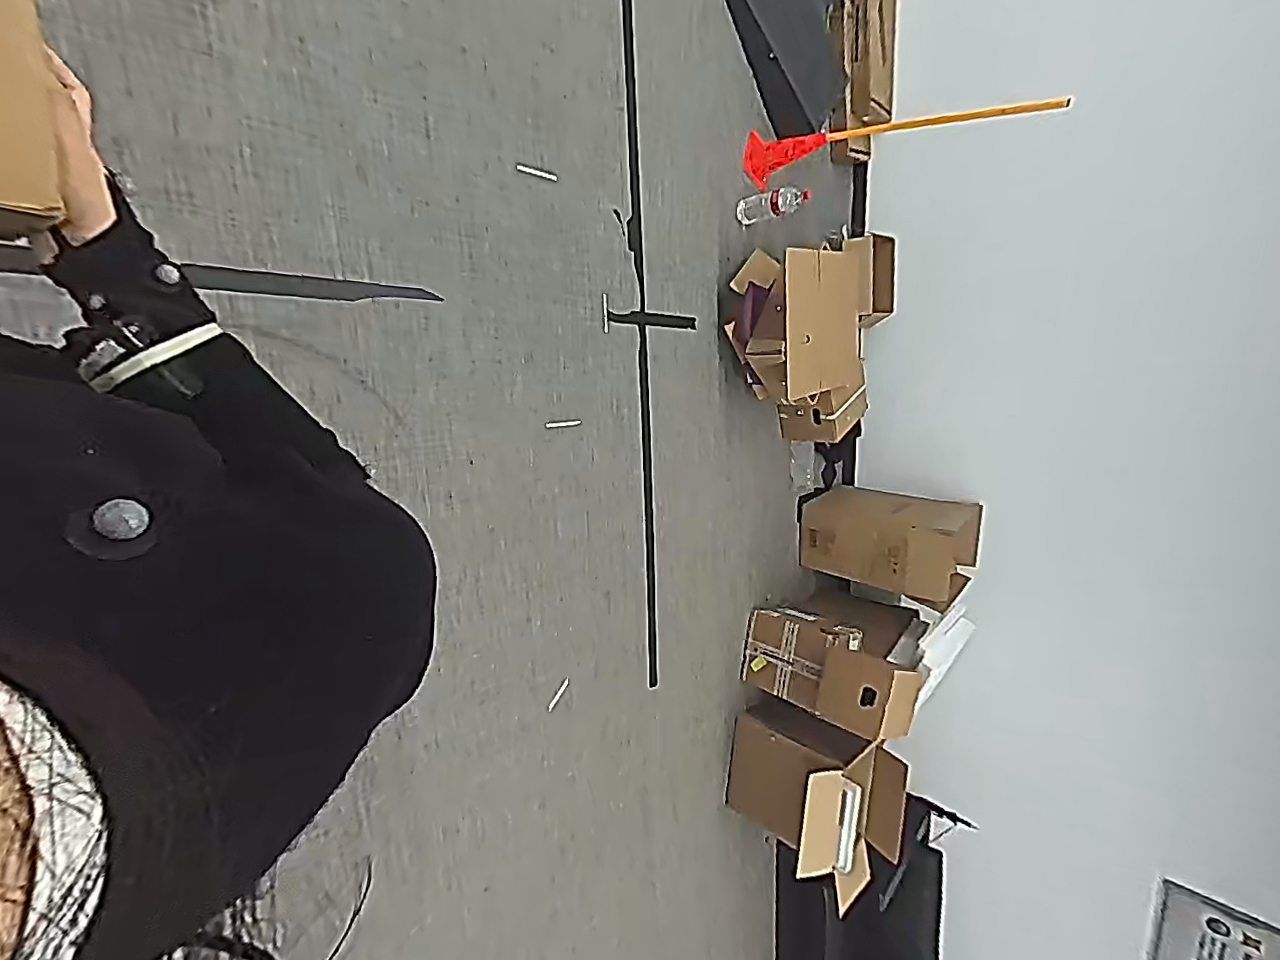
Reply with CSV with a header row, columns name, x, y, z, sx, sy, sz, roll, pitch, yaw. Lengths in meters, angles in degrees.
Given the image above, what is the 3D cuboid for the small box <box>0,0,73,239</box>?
name,x,y,z,sx,sy,sz,roll,pitch,yaw
small box,-0.410,-0.229,0.252,0.168,0.176,0.179,-12,108,-54
